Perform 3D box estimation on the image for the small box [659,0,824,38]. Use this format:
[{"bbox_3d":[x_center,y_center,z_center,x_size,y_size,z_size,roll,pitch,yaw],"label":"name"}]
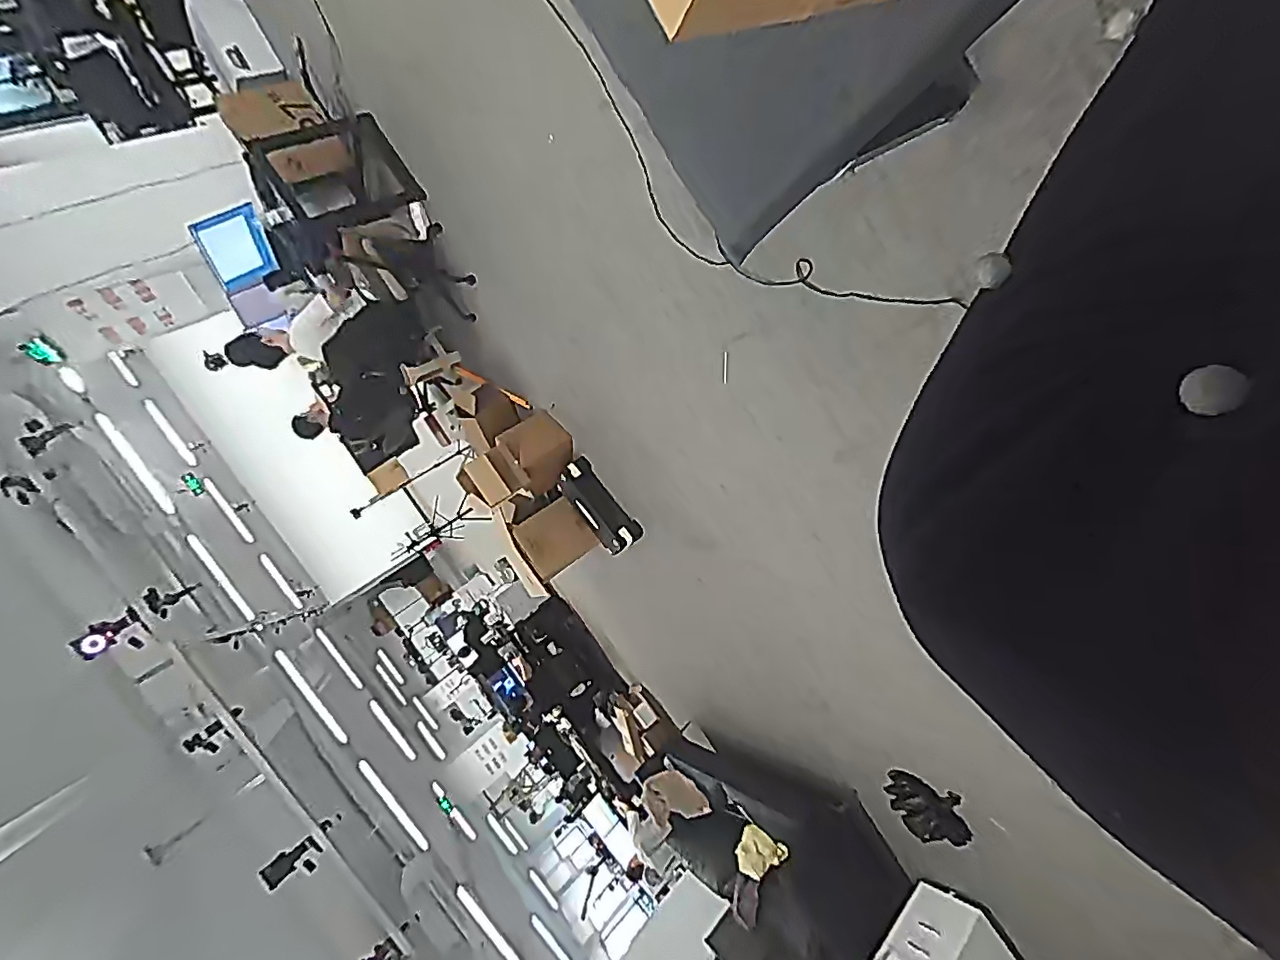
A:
[{"bbox_3d":[0.088,-0.453,0.359,0.168,0.176,0.179,60,154,-5],"label":"small box"}]
